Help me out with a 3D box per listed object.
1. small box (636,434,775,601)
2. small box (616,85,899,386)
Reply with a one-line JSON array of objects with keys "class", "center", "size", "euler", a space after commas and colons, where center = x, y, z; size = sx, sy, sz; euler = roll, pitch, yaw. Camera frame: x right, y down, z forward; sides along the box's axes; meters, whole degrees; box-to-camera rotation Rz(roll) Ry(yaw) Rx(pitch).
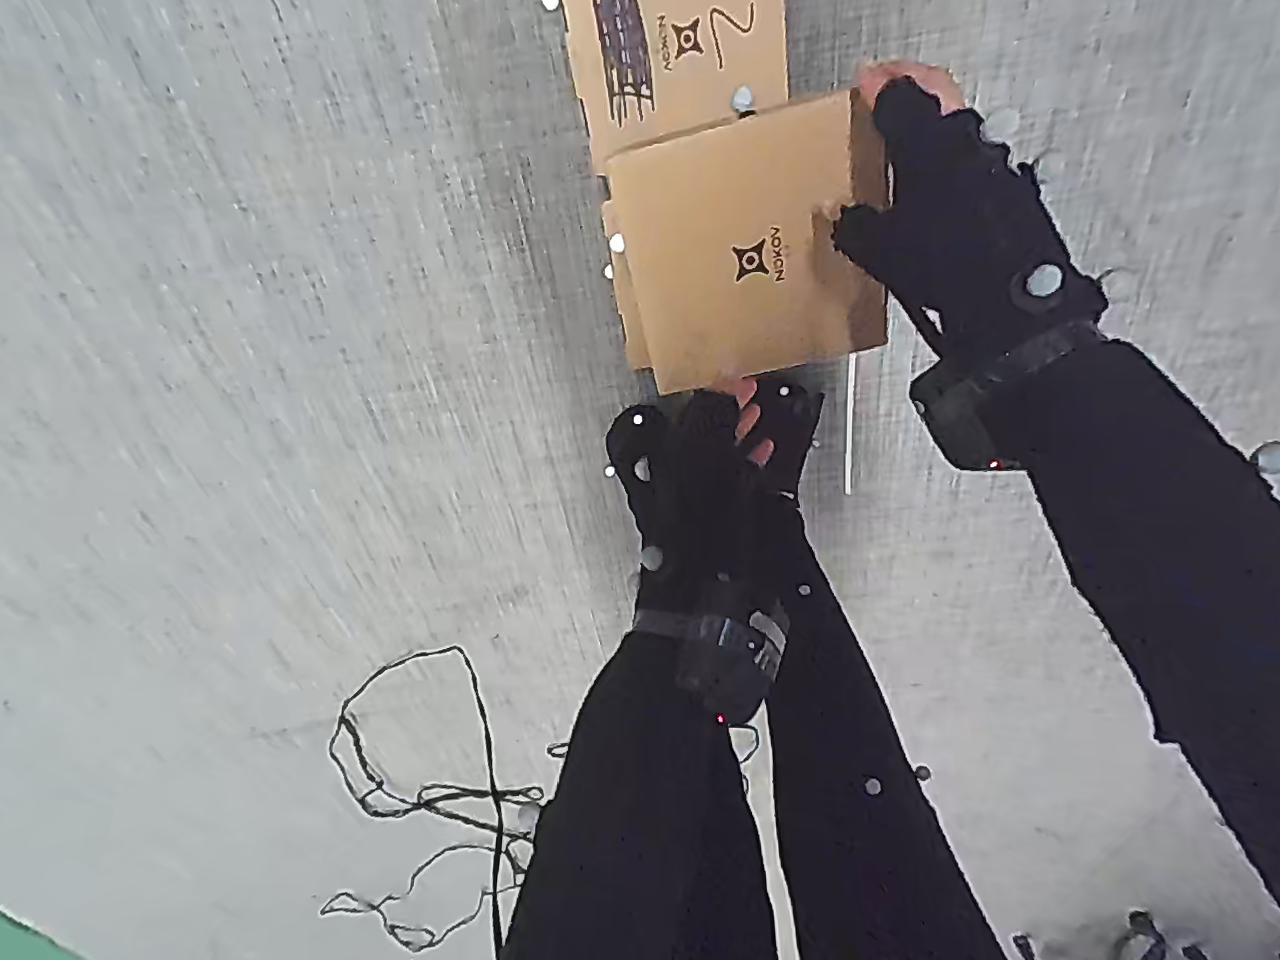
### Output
[{"class": "small box", "center": [0.090, 0.052, 0.814], "size": [0.168, 0.176, 0.179], "euler": [-9, 124, -5]}, {"class": "small box", "center": [0.085, -0.194, 0.439], "size": [0.179, 0.176, 0.168], "euler": [-10, 120, 6]}]
